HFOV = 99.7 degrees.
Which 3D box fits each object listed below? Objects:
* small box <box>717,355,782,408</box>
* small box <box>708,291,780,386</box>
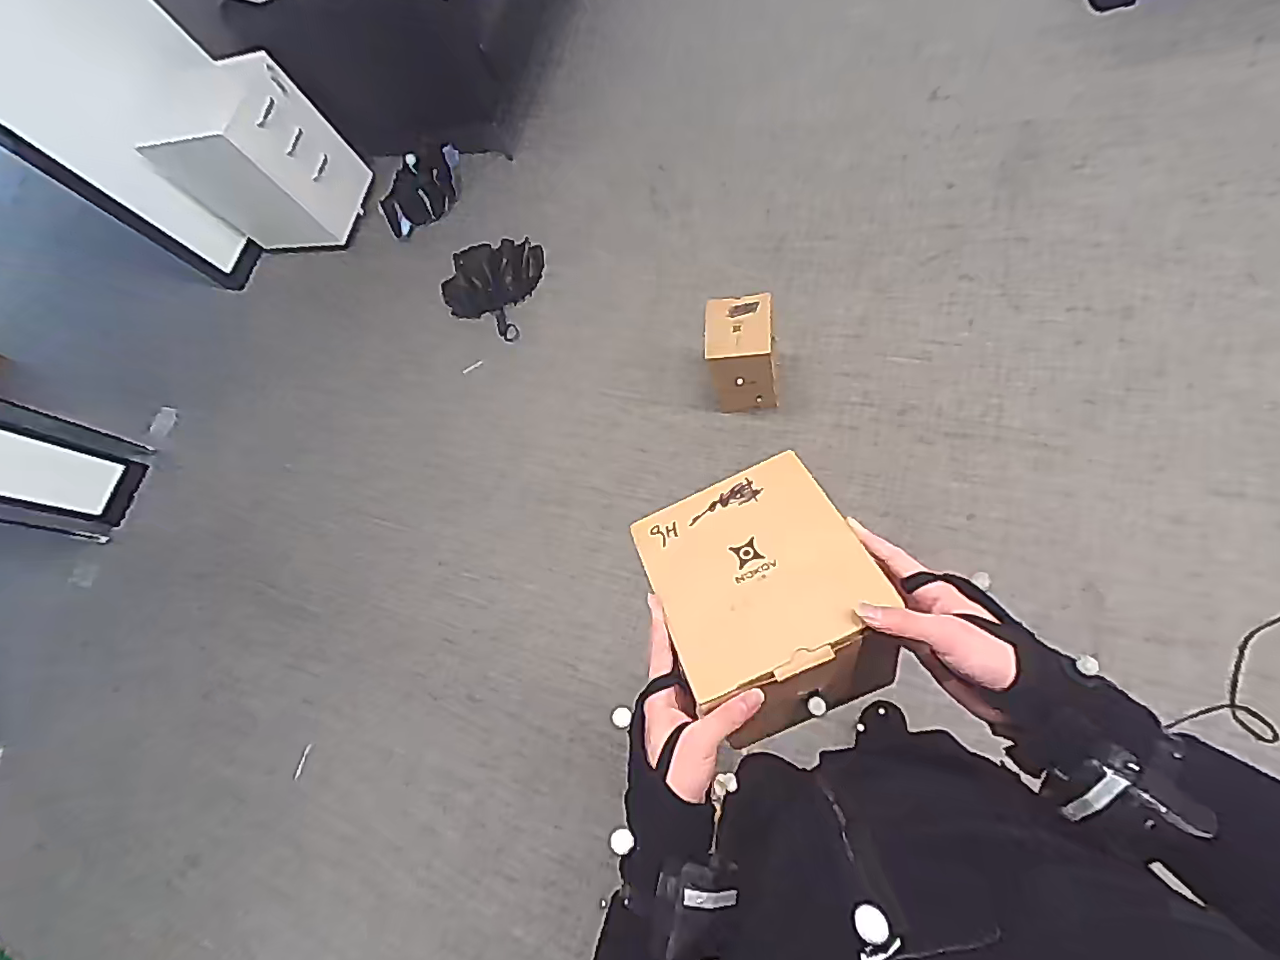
[{"bbox_3d":[0.322,-0.318,1.573,0.168,0.176,0.179,-2,70,17],"label":"small box"},{"bbox_3d":[0.278,-0.366,1.421,0.168,0.176,0.179,-1,73,18],"label":"small box"}]
